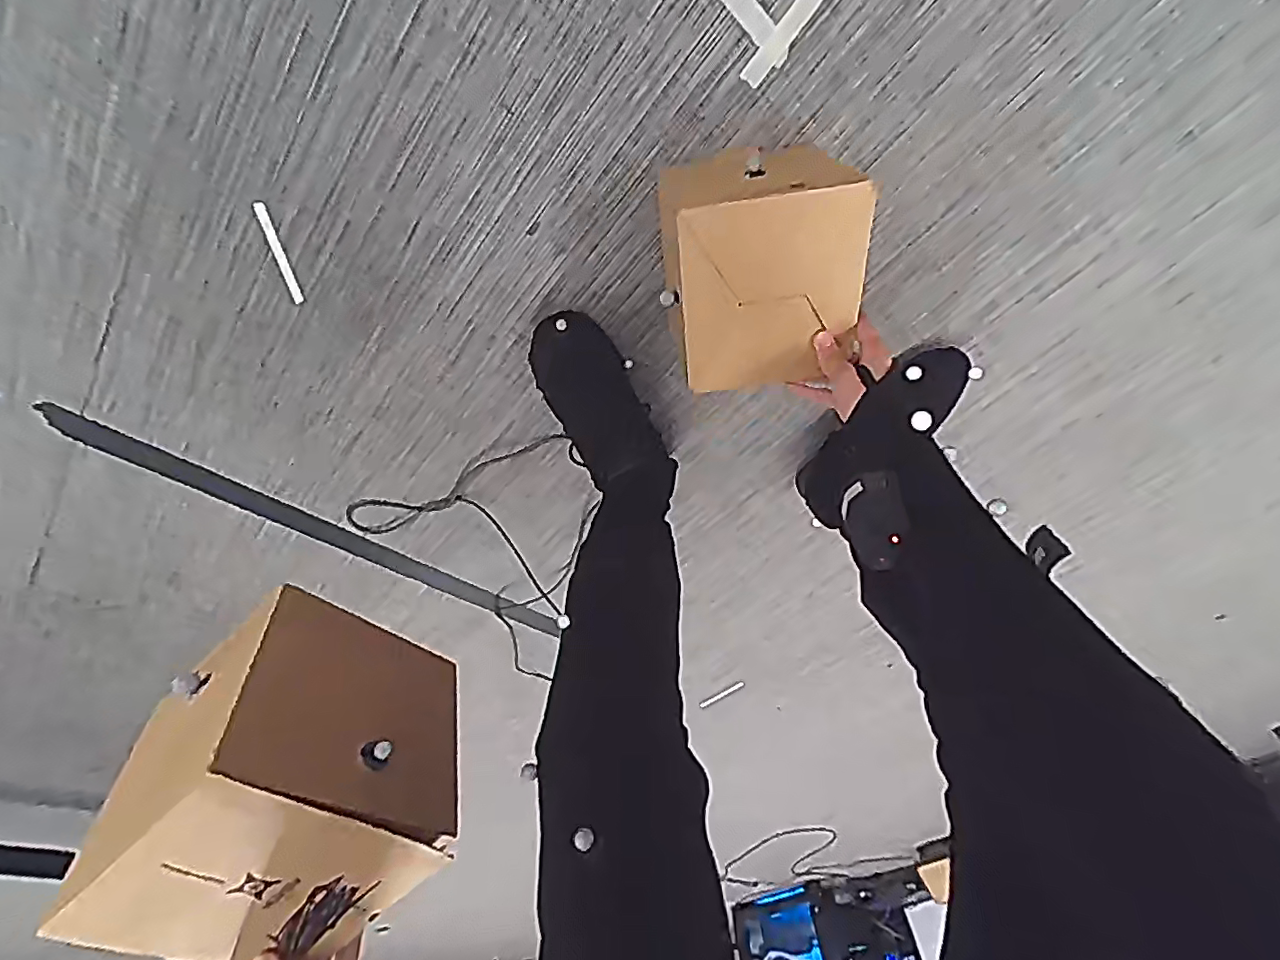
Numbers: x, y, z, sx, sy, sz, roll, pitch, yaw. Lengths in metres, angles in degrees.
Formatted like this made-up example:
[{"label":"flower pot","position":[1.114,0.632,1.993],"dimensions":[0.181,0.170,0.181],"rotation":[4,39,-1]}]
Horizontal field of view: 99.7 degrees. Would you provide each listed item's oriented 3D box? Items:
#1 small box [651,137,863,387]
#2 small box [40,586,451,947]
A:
[{"label":"small box","position":[0.109,-0.222,0.550],"dimensions":[0.168,0.176,0.179],"rotation":[-8,131,2]},{"label":"small box","position":[-0.268,0.215,0.423],"dimensions":[0.168,0.176,0.179],"rotation":[-42,122,7]}]
